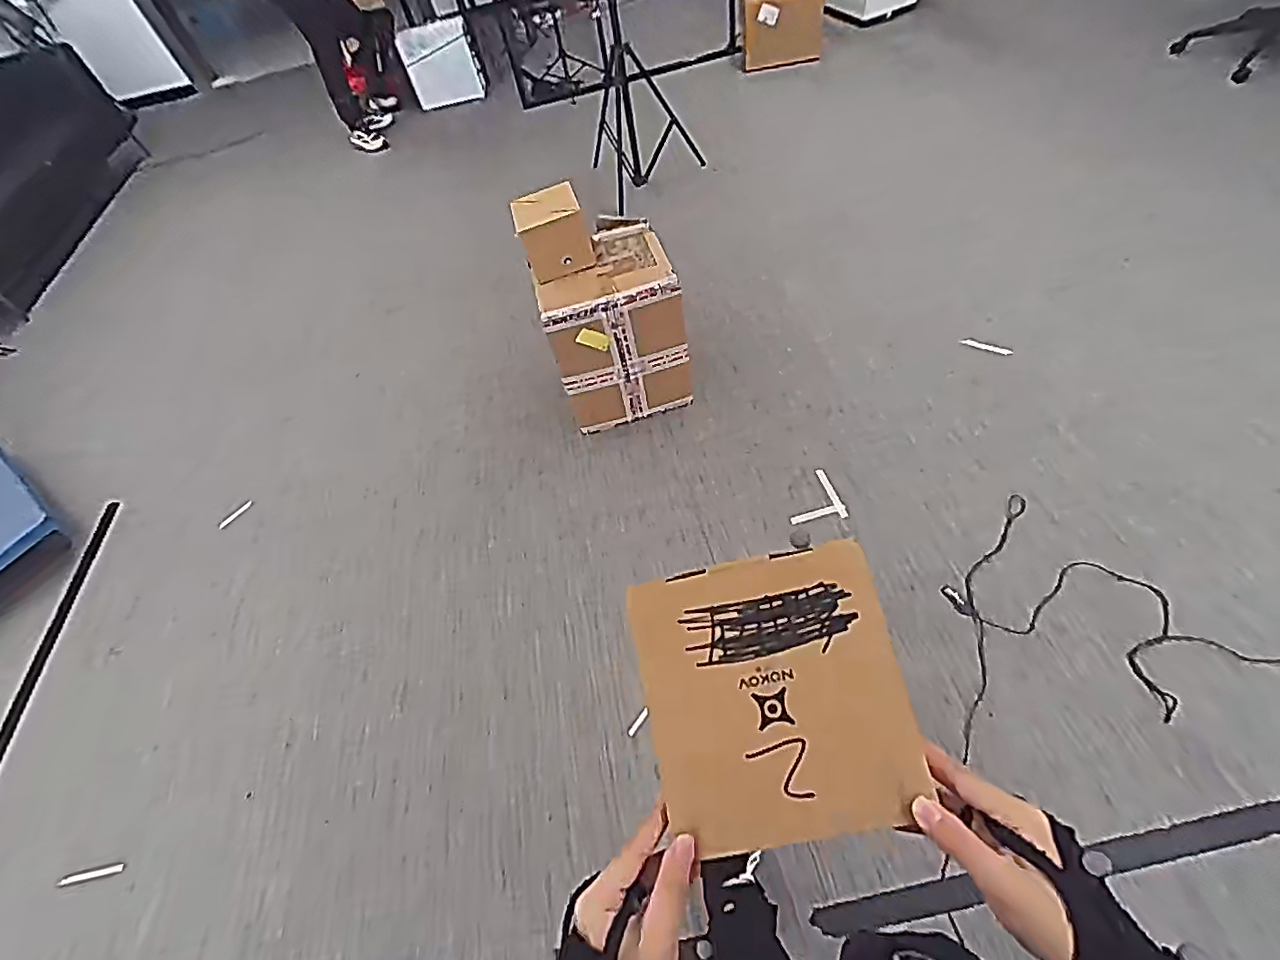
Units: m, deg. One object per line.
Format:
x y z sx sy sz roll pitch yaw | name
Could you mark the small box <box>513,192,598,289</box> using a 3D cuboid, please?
-0.236 -0.678 1.520 0.179 0.176 0.168 -19 55 1 | small box
